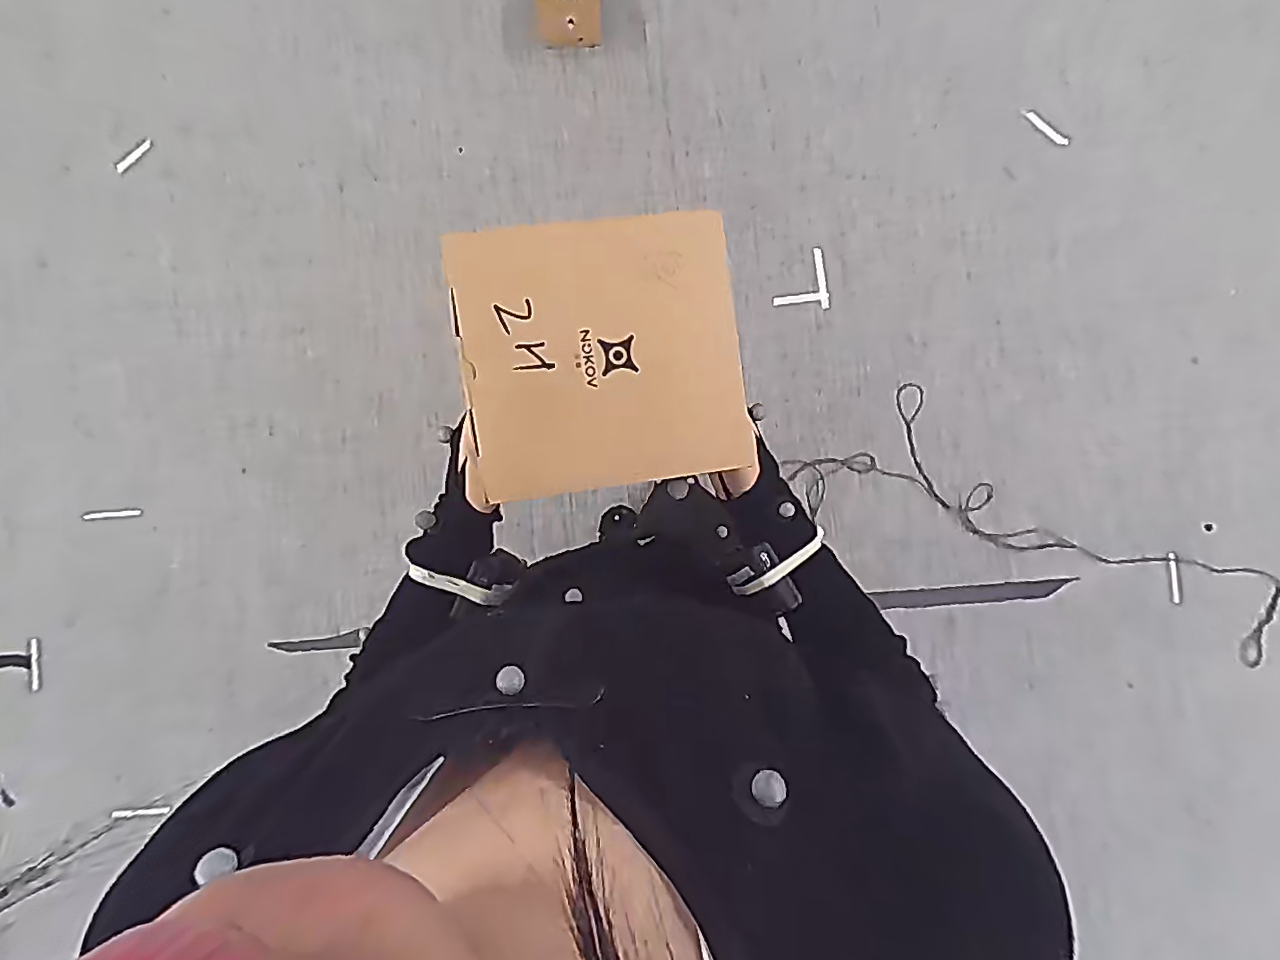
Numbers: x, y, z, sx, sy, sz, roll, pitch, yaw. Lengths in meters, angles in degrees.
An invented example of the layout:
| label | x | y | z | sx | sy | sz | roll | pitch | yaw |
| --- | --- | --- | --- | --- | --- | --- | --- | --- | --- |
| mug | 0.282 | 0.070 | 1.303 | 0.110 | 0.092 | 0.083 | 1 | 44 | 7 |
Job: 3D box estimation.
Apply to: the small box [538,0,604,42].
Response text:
| label | x | y | z | sx | sy | sz | roll | pitch | yaw |
| --- | --- | --- | --- | --- | --- | --- | --- | --- | --- |
| small box | -0.188 | -1.343 | 1.480 | 0.168 | 0.176 | 0.179 | -3 | 88 | -1 |

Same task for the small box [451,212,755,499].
| label | x | y | z | sx | sy | sz | roll | pitch | yaw |
| --- | --- | --- | --- | --- | --- | --- | --- | --- | --- |
| small box | -0.029 | -0.083 | 0.417 | 0.179 | 0.176 | 0.168 | -8 | 94 | -6 |
